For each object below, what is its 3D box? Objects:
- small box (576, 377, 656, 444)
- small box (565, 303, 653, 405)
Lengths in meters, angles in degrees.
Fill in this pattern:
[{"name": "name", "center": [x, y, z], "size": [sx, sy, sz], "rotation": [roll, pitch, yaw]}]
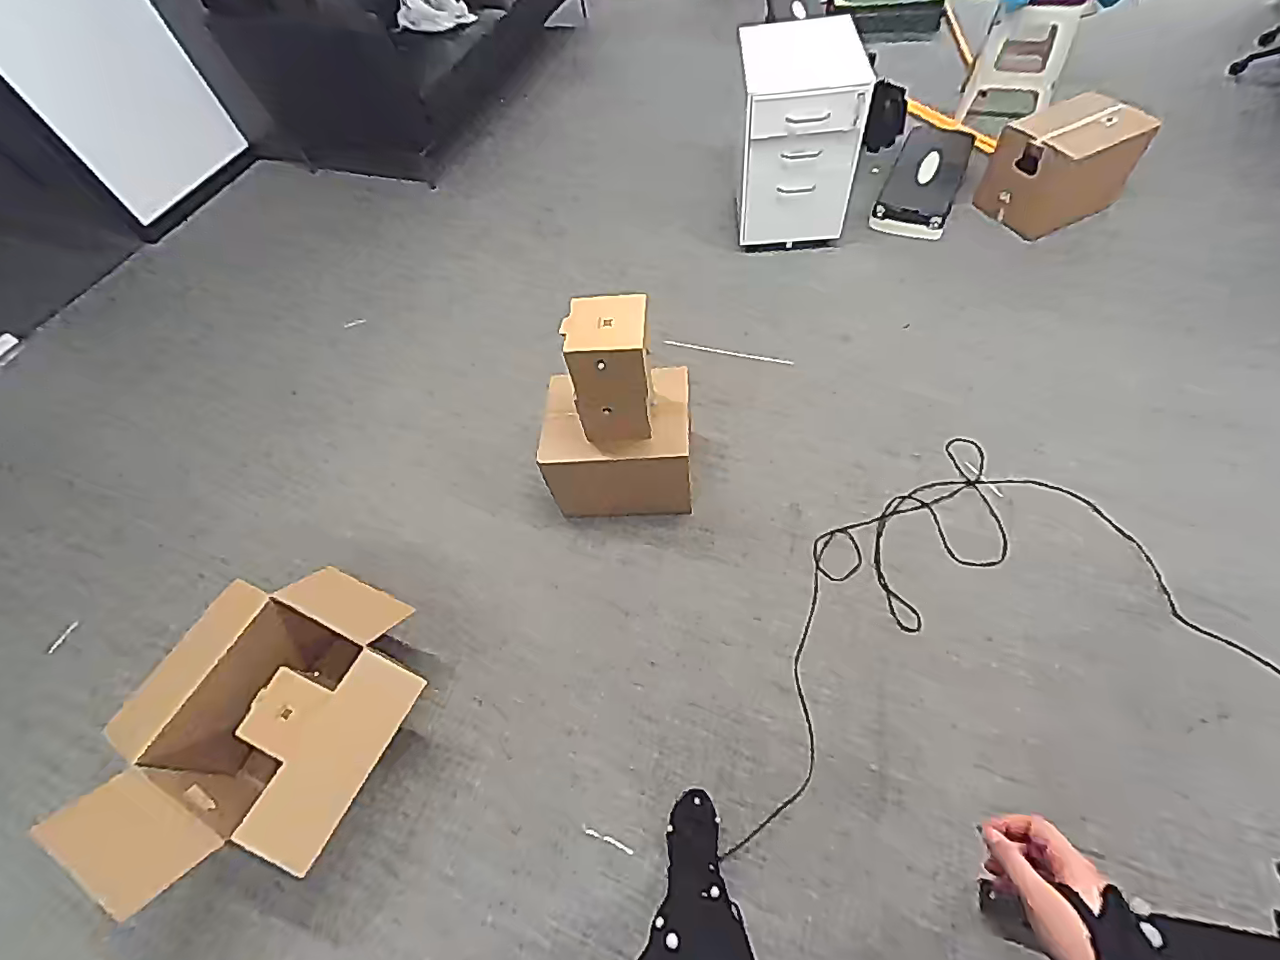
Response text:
[{"name": "small box", "center": [-0.056, -0.205, 1.409], "size": [0.179, 0.176, 0.168], "rotation": [-2, 58, 7]}, {"name": "small box", "center": [-0.063, -0.290, 1.270], "size": [0.179, 0.176, 0.168], "rotation": [-2, 59, 8]}]
